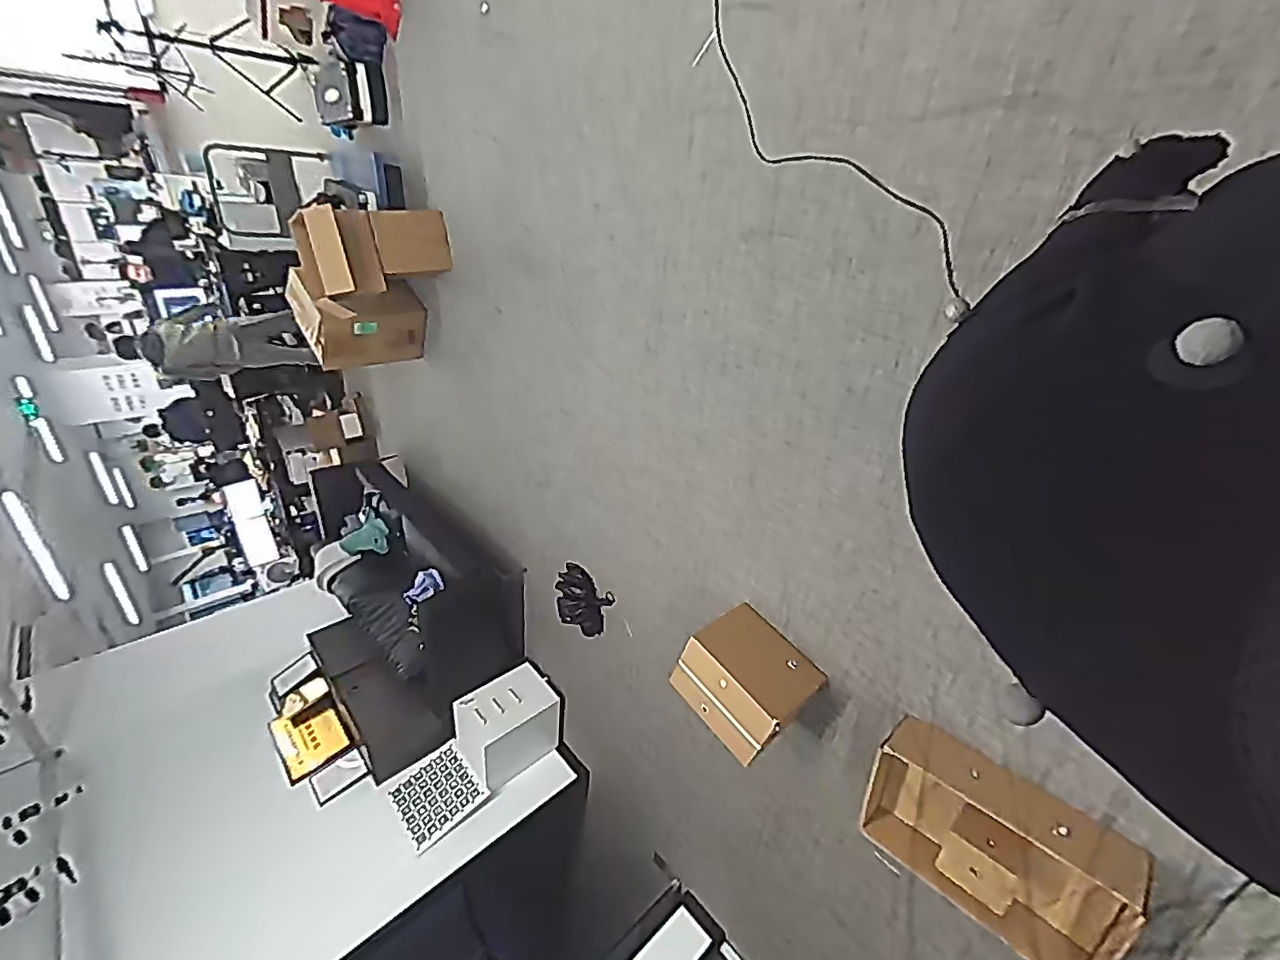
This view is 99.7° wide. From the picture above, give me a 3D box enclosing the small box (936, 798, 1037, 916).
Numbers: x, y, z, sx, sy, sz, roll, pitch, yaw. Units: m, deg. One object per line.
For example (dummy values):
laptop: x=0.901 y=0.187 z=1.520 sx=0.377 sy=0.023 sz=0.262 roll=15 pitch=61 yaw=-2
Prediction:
small box: x=0.968 y=1.042 z=1.510 sx=0.179 sy=0.176 sz=0.168 roll=26 pitch=124 yaw=43
